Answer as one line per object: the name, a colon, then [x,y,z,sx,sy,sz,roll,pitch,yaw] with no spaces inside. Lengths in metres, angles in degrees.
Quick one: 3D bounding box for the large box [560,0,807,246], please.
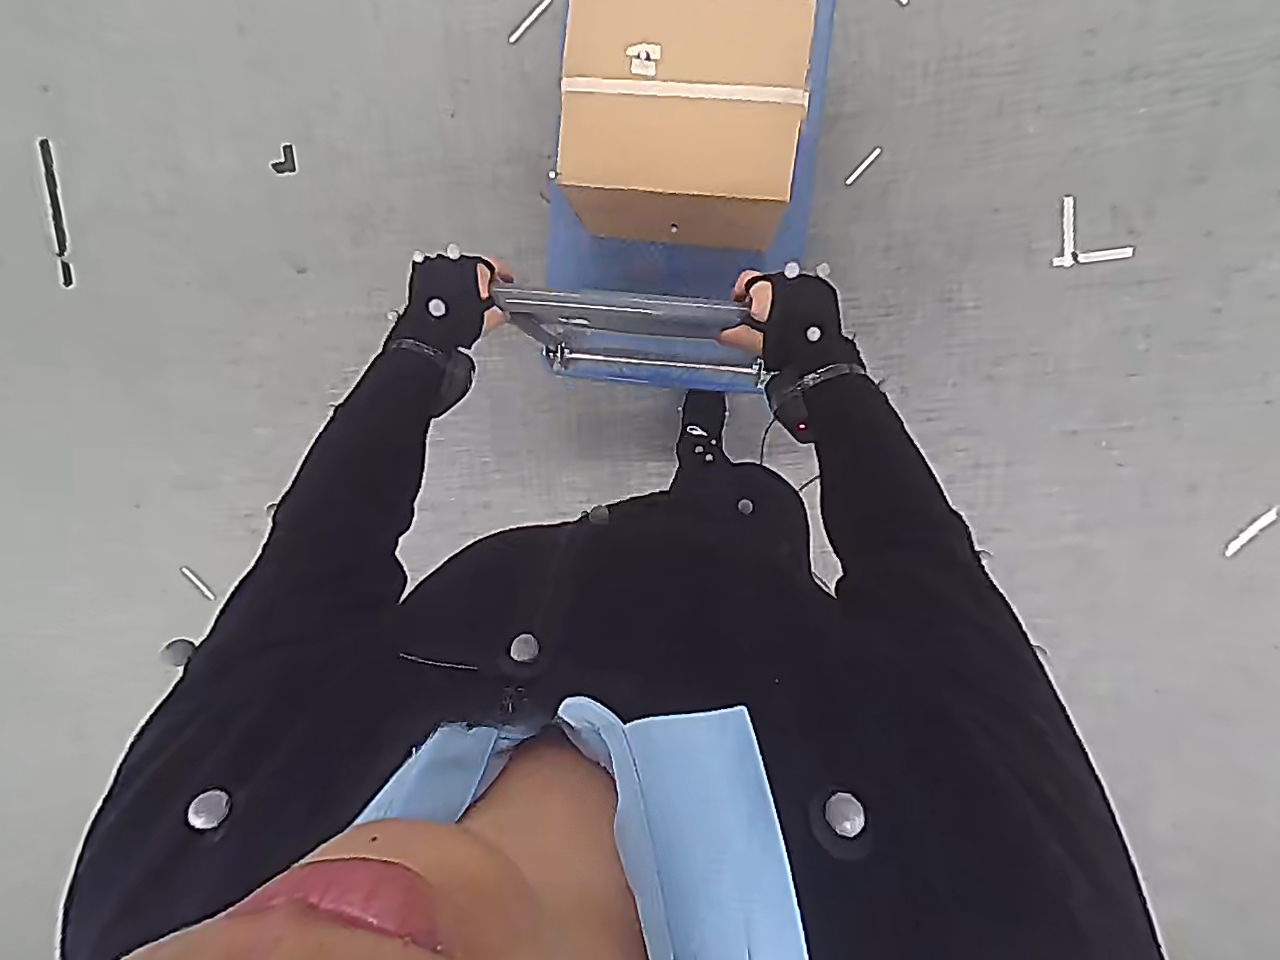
large box: [0.086,-0.672,1.070,0.408,0.320,0.320,7,98,6]
